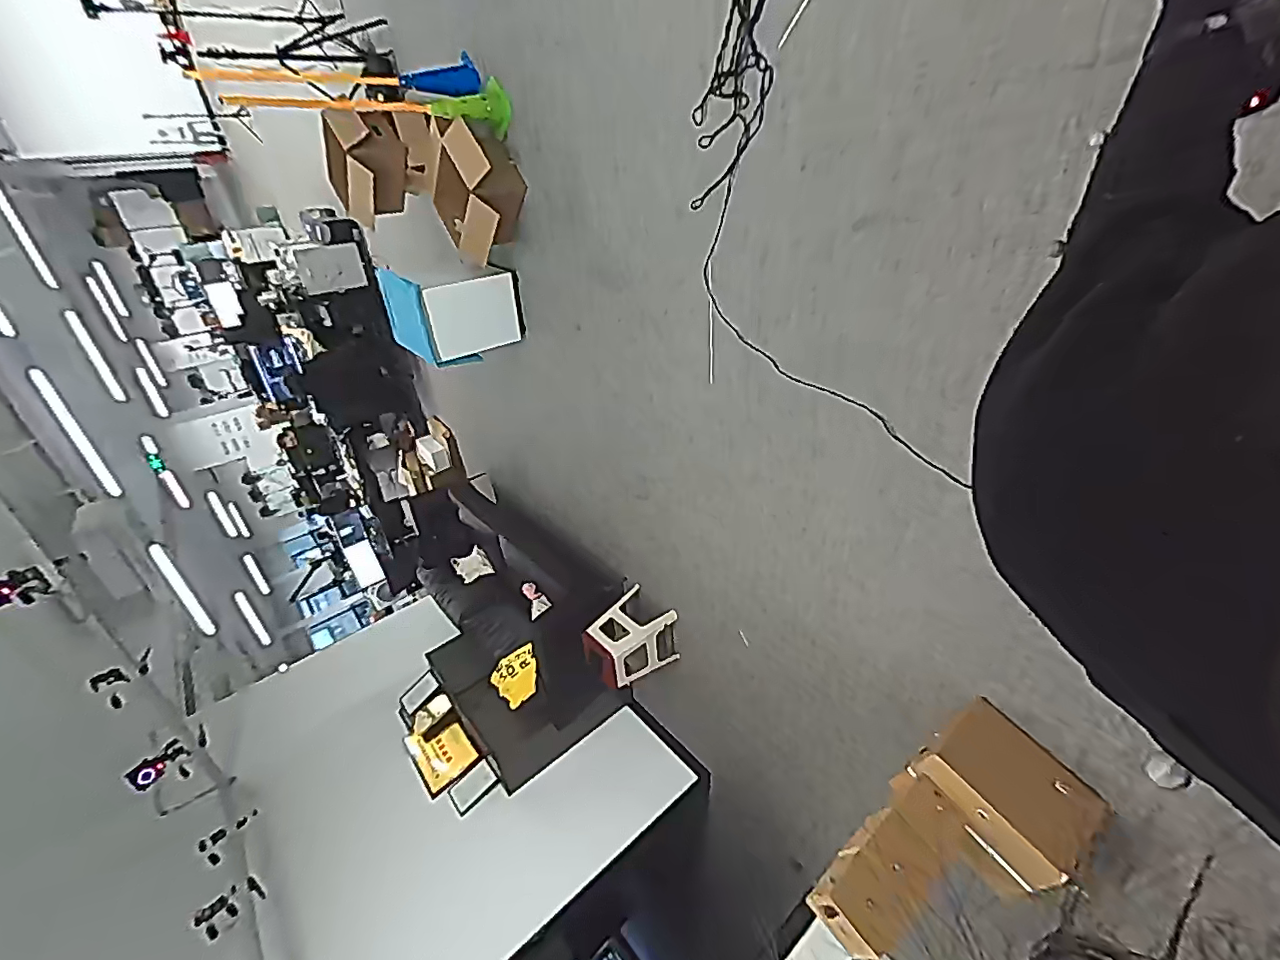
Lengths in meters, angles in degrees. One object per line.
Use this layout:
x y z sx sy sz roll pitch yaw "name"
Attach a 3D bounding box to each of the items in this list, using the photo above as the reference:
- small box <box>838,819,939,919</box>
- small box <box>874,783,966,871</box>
0.725 1.129 1.582 0.179 0.176 0.168 45 145 27 "small box"
0.855 1.073 1.660 0.168 0.176 0.179 45 144 29 "small box"
